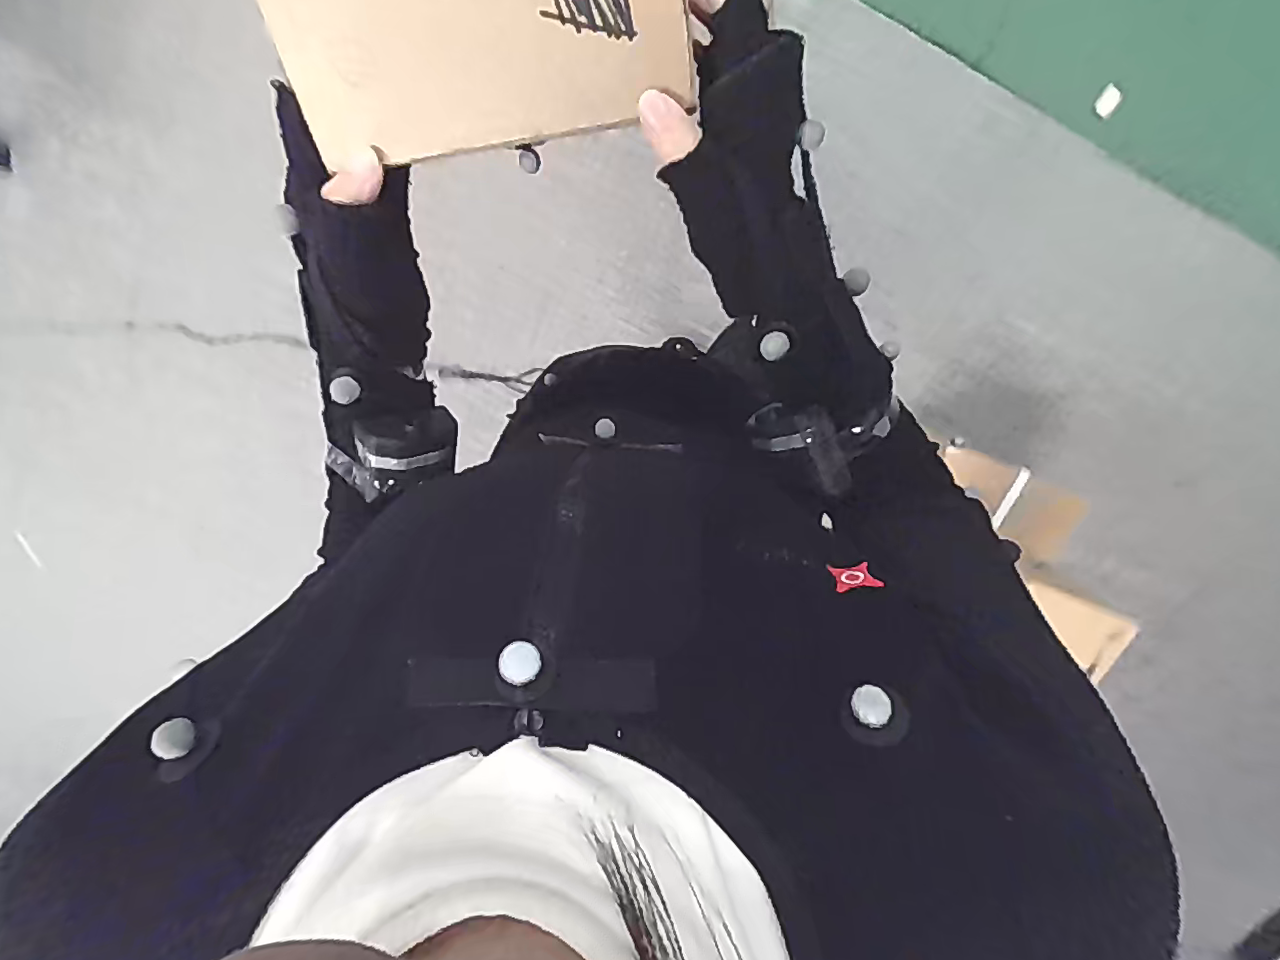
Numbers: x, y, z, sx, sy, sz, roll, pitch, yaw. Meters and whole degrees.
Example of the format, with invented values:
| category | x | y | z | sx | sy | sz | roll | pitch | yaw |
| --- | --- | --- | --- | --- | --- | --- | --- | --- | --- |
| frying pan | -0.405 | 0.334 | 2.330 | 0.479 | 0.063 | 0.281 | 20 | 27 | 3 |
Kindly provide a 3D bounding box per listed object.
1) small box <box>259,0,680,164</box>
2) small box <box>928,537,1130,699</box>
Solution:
| category | x | y | z | sx | sy | sz | roll | pitch | yaw |
| --- | --- | --- | --- | --- | --- | --- | --- | --- | --- |
| small box | -0.075 | -0.274 | 0.273 | 0.179 | 0.176 | 0.168 | -5 | 123 | 10 |
| small box | 0.615 | 0.213 | 0.886 | 0.179 | 0.176 | 0.168 | 23 | 107 | 0 |
